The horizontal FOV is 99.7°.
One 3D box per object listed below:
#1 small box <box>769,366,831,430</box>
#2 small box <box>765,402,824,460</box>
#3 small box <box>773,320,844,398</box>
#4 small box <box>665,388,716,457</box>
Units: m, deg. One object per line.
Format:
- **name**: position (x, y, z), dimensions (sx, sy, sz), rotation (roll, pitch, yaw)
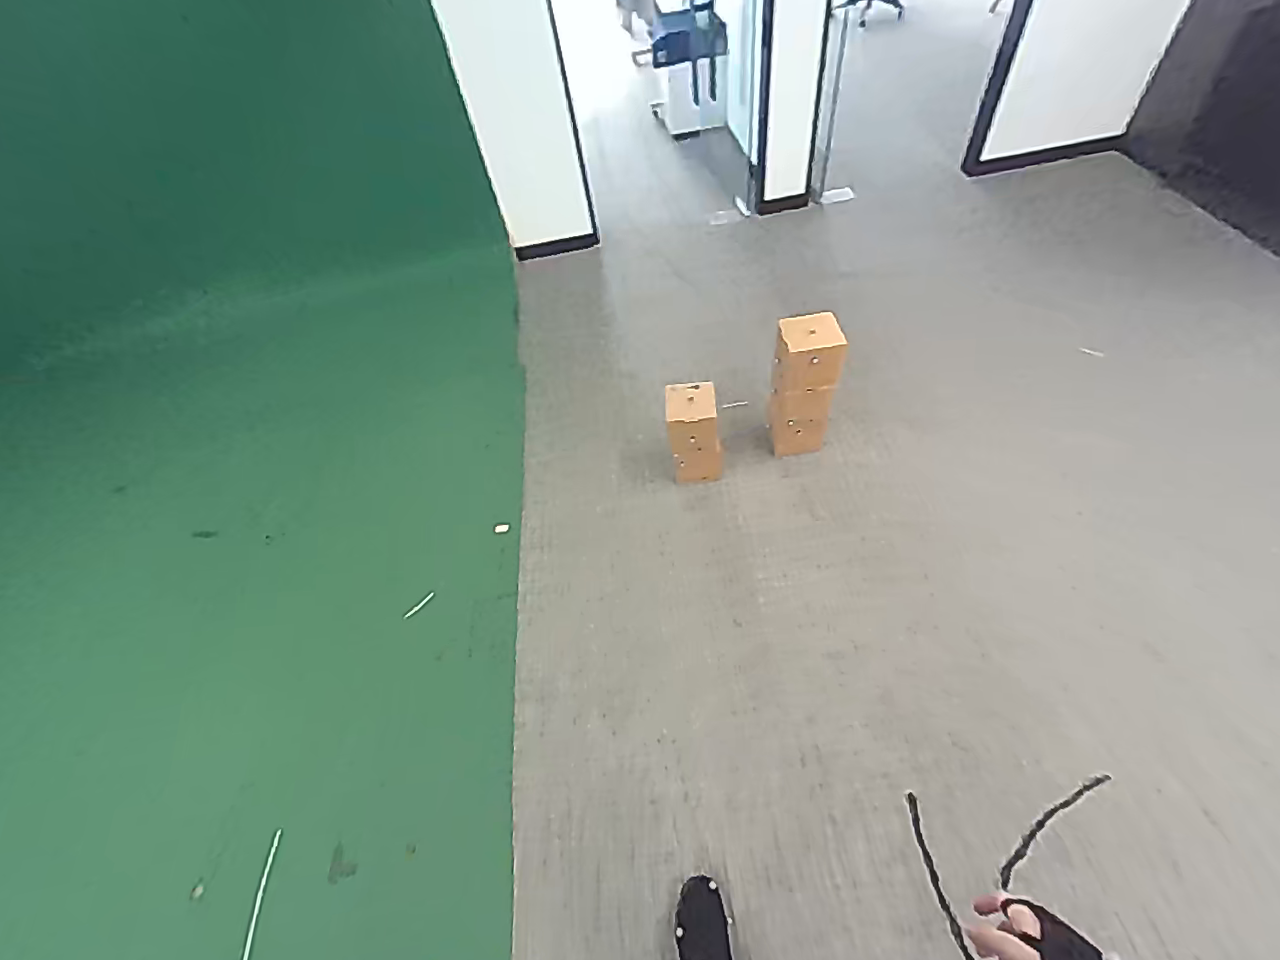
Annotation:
- **small box**: position (0.551, -0.288, 1.881), dimensions (0.168, 0.176, 0.179), rotation (-8, 51, 3)
- **small box**: position (0.569, -0.190, 2.011), dimensions (0.179, 0.176, 0.168), rotation (-9, 51, 2)
- **small box**: position (0.539, -0.390, 1.756), dimensions (0.179, 0.176, 0.168), rotation (-9, 51, 3)
- **small box**: position (0.176, -0.191, 1.866), dimensions (0.168, 0.176, 0.179), rotation (-4, 52, 6)
